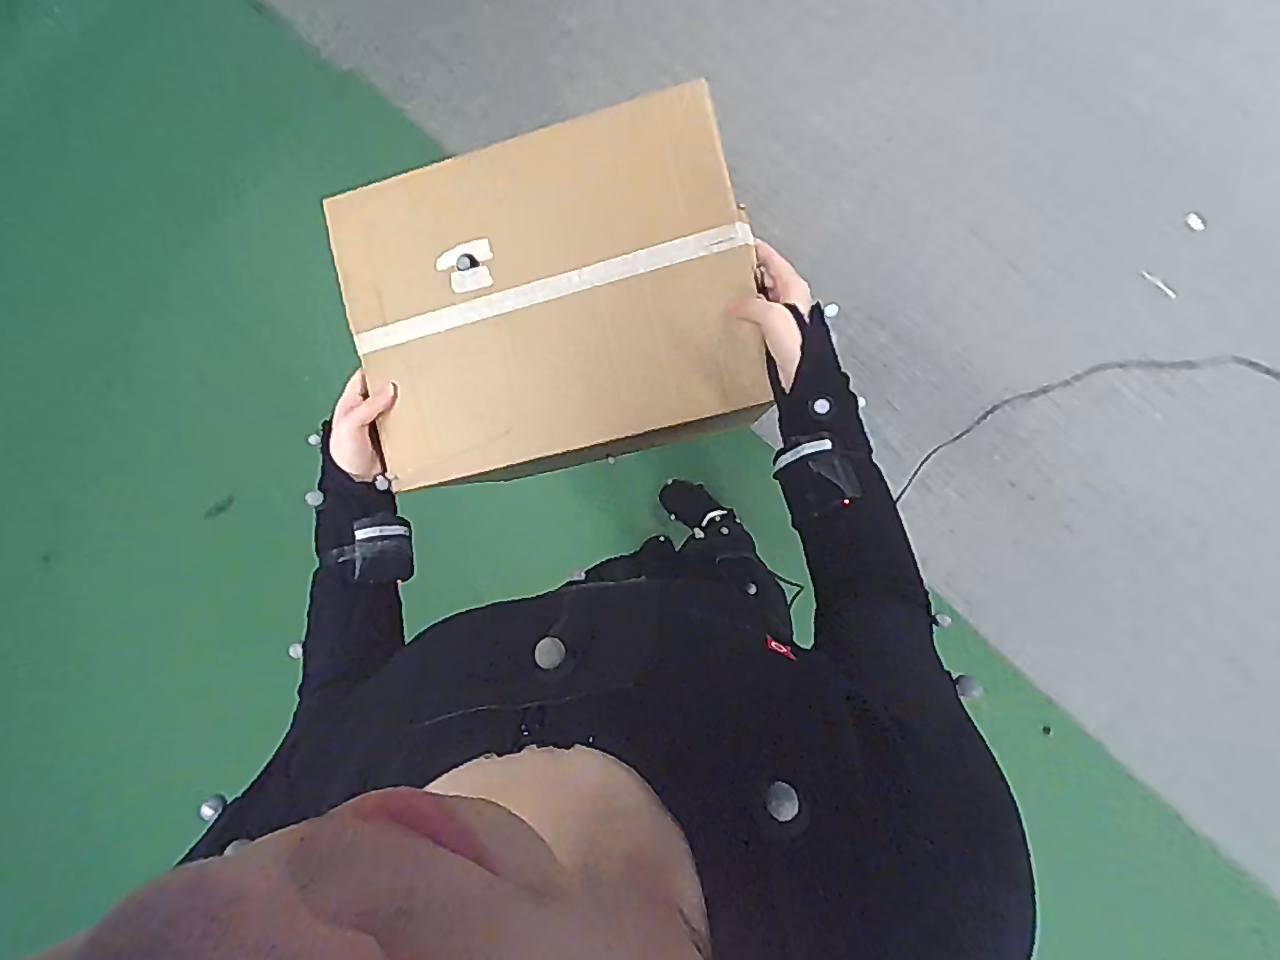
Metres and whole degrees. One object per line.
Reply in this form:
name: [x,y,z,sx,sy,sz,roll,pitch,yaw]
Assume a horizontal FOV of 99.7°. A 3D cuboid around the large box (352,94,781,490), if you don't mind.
large box: [-0.063,-0.188,0.696,0.408,0.320,0.320,-12,90,9]
